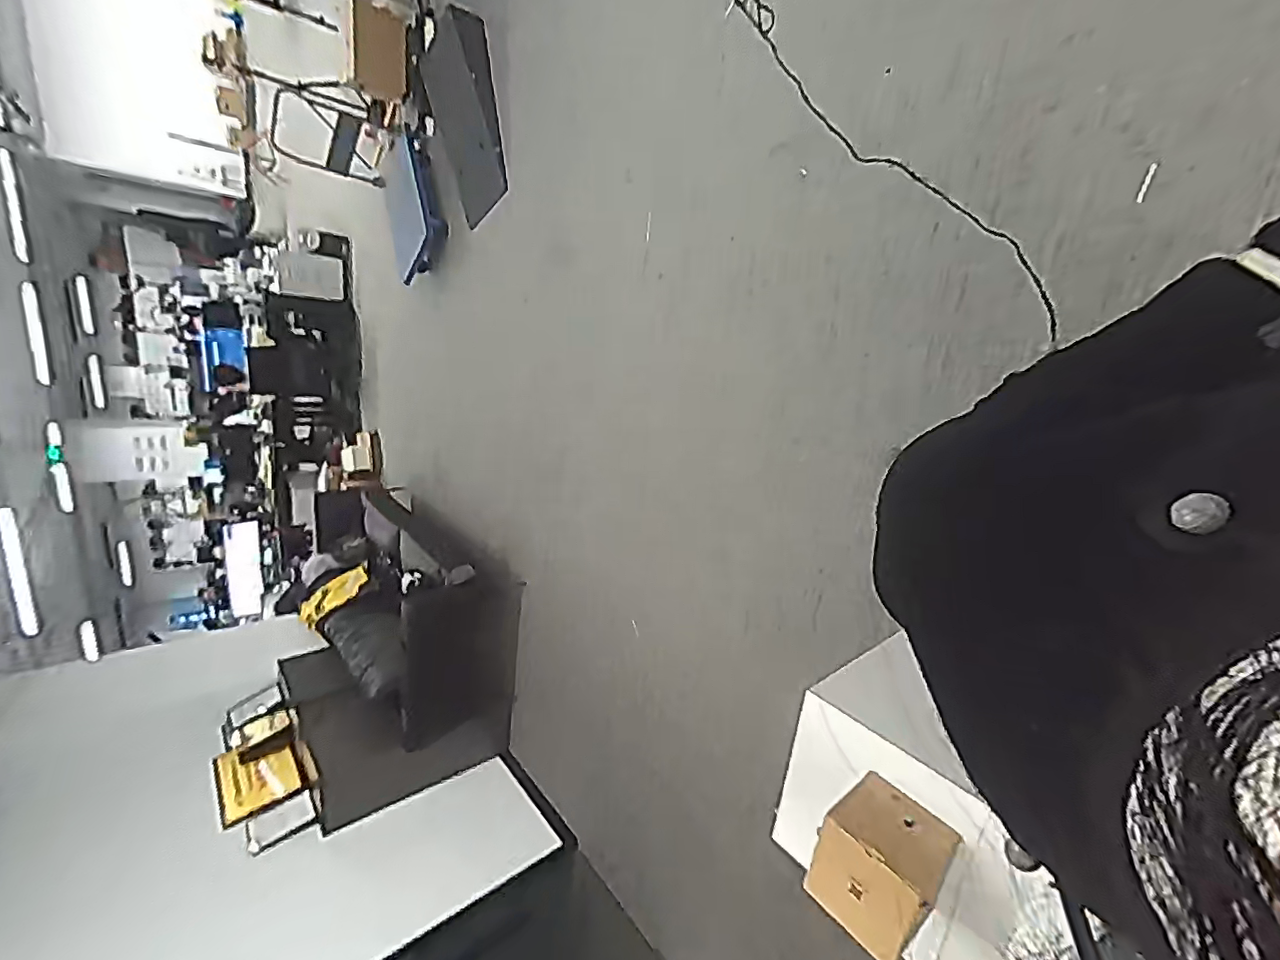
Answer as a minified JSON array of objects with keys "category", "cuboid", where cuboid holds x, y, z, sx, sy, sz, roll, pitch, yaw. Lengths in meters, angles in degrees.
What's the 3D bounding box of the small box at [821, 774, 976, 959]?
[{"category":"small box","cuboid":[0.440,0.654,0.921,0.168,0.176,0.179,25,115,45]}]
